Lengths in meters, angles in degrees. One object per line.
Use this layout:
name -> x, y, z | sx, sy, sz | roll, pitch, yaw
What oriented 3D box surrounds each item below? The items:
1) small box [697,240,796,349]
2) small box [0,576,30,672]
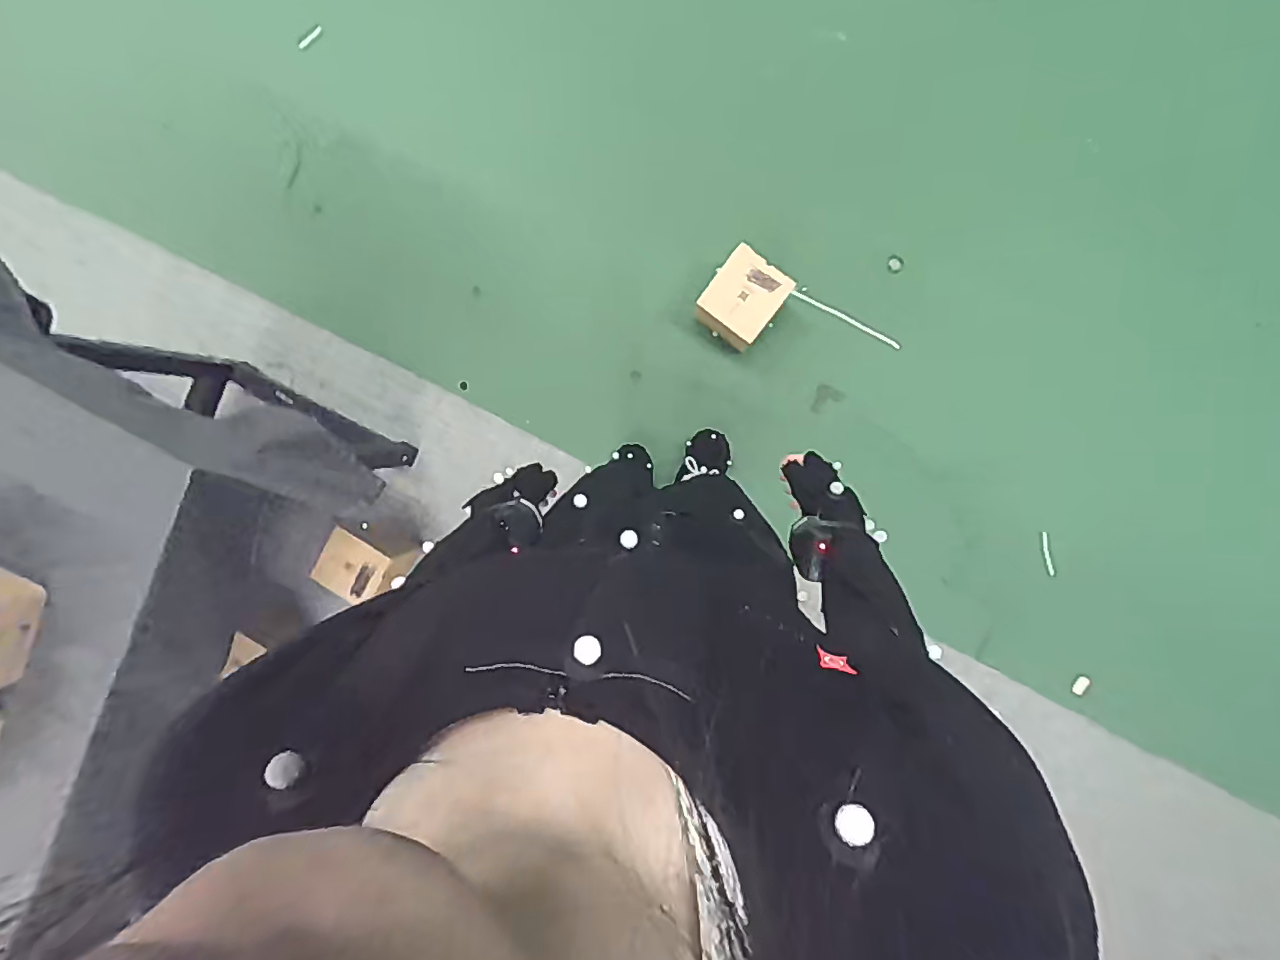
small box -> 0.252, -0.447, 1.335 | 0.168, 0.176, 0.179 | 38, 98, 0
small box -> -1.037, 0.214, 0.756 | 0.179, 0.176, 0.168 | 24, 97, 1
